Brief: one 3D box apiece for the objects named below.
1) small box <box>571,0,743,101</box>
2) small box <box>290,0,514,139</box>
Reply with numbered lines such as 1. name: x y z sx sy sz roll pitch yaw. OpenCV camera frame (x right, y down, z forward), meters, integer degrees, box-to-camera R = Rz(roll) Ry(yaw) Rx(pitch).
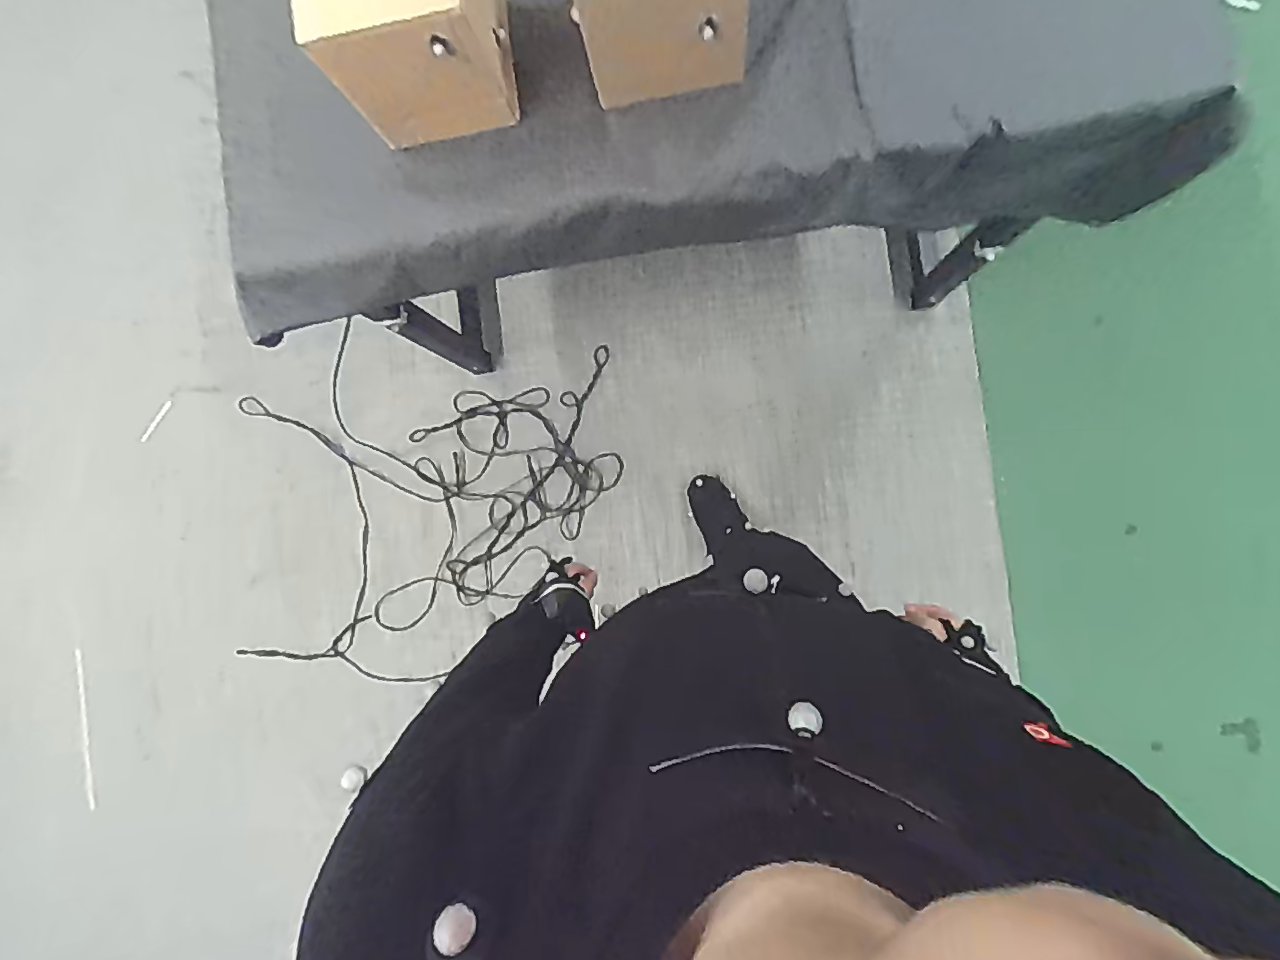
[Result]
1. small box: 0.016 -0.557 0.582 0.179 0.176 0.168 -8 86 8
2. small box: -0.262 -0.526 0.614 0.179 0.176 0.168 -8 87 6
